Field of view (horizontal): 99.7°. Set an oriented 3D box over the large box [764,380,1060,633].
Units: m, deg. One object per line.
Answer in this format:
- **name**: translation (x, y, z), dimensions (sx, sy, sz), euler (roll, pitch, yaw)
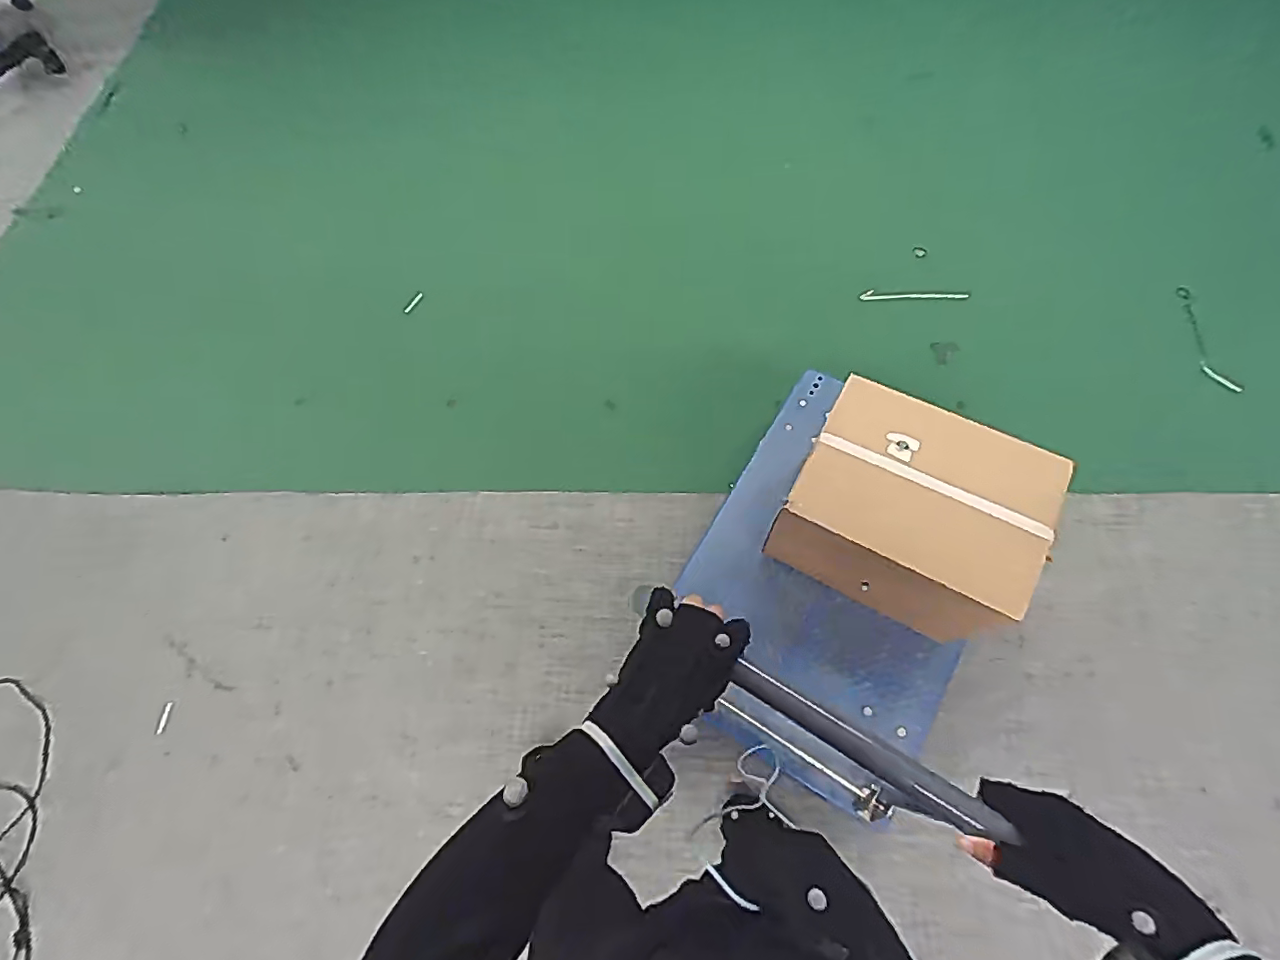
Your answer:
- **large box**: translation (0.510, 0.066, 1.089), dimensions (0.408, 0.320, 0.320), euler (26, 72, 16)
